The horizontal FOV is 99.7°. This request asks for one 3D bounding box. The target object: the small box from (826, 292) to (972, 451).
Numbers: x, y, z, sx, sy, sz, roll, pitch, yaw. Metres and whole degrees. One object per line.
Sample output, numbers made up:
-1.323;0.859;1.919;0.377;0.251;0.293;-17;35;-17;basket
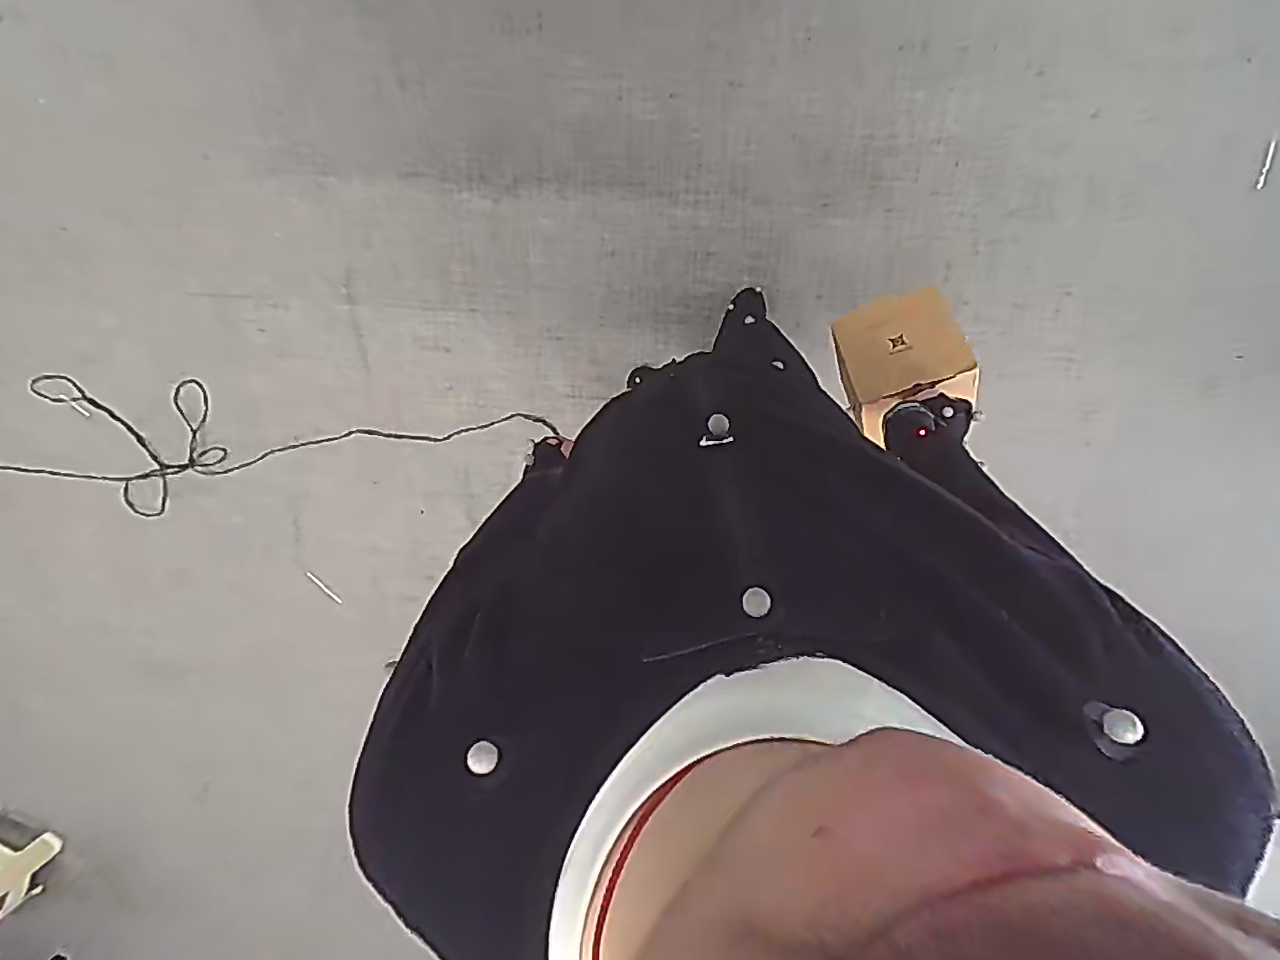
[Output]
0.421;-0.166;0.890;0.168;0.179;0.176;-17;146;16;small box
